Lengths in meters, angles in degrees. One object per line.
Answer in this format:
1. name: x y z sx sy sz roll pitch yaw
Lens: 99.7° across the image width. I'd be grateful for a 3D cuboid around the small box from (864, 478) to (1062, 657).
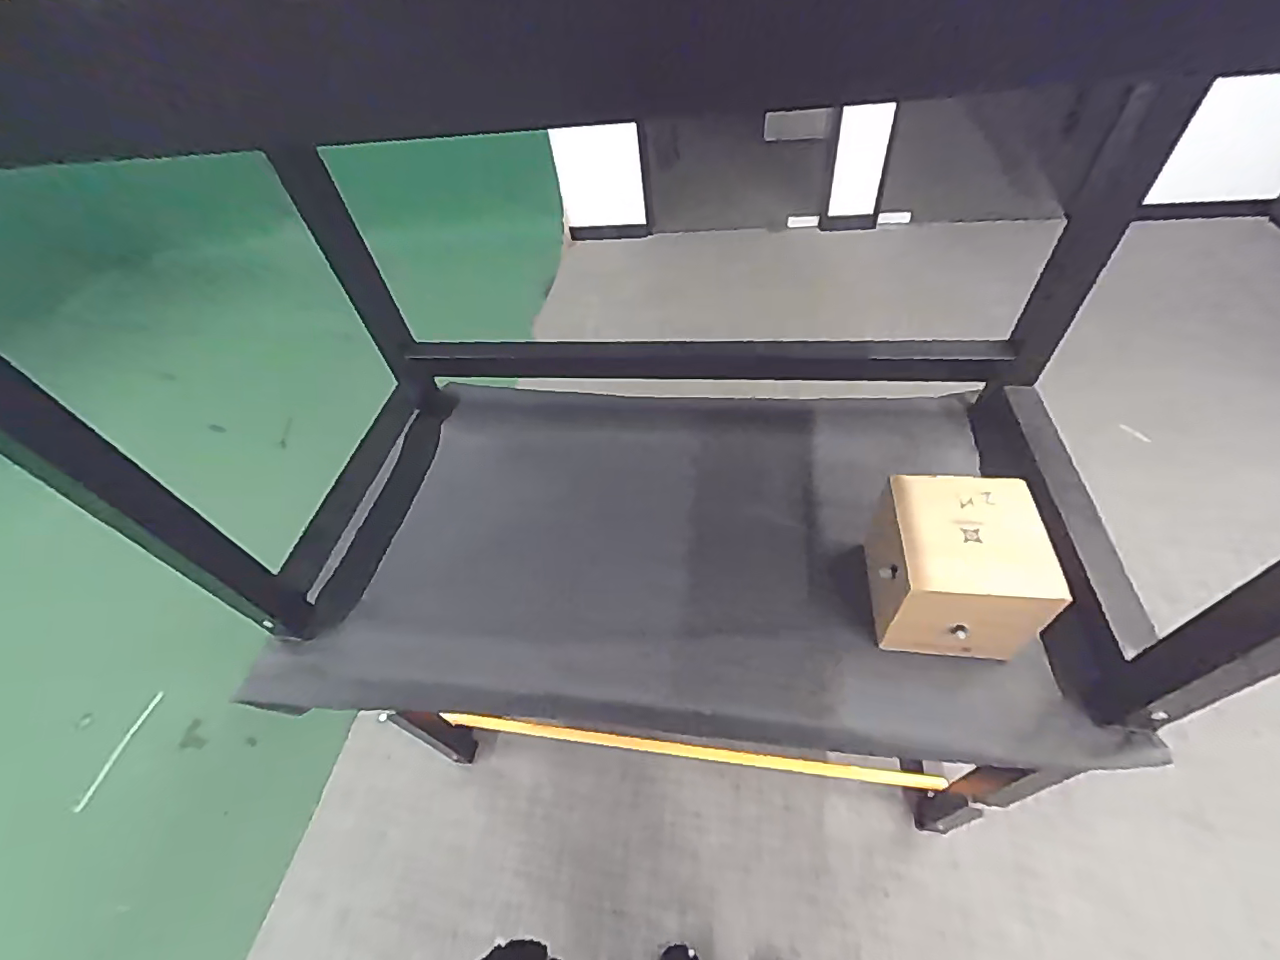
1. small box: 0.406 0.118 0.718 0.168 0.176 0.179 3 50 10
